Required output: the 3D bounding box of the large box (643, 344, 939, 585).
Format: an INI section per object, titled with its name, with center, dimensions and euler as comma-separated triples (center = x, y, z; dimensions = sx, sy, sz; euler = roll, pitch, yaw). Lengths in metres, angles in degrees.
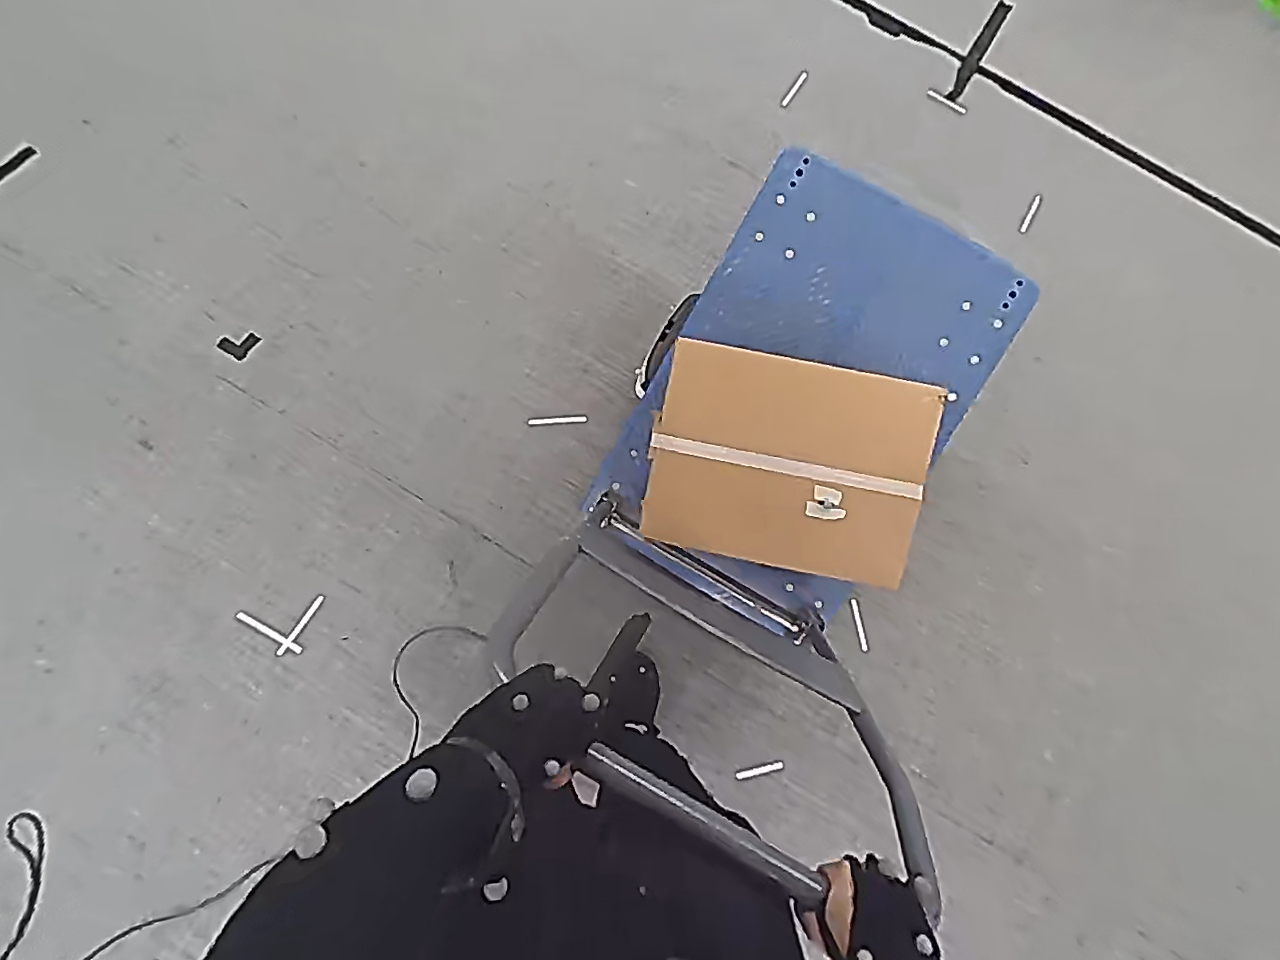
[large box]
center = 0.229, -0.034, 0.968
dimensions = 0.408, 0.320, 0.320
euler = 11, 96, 2
